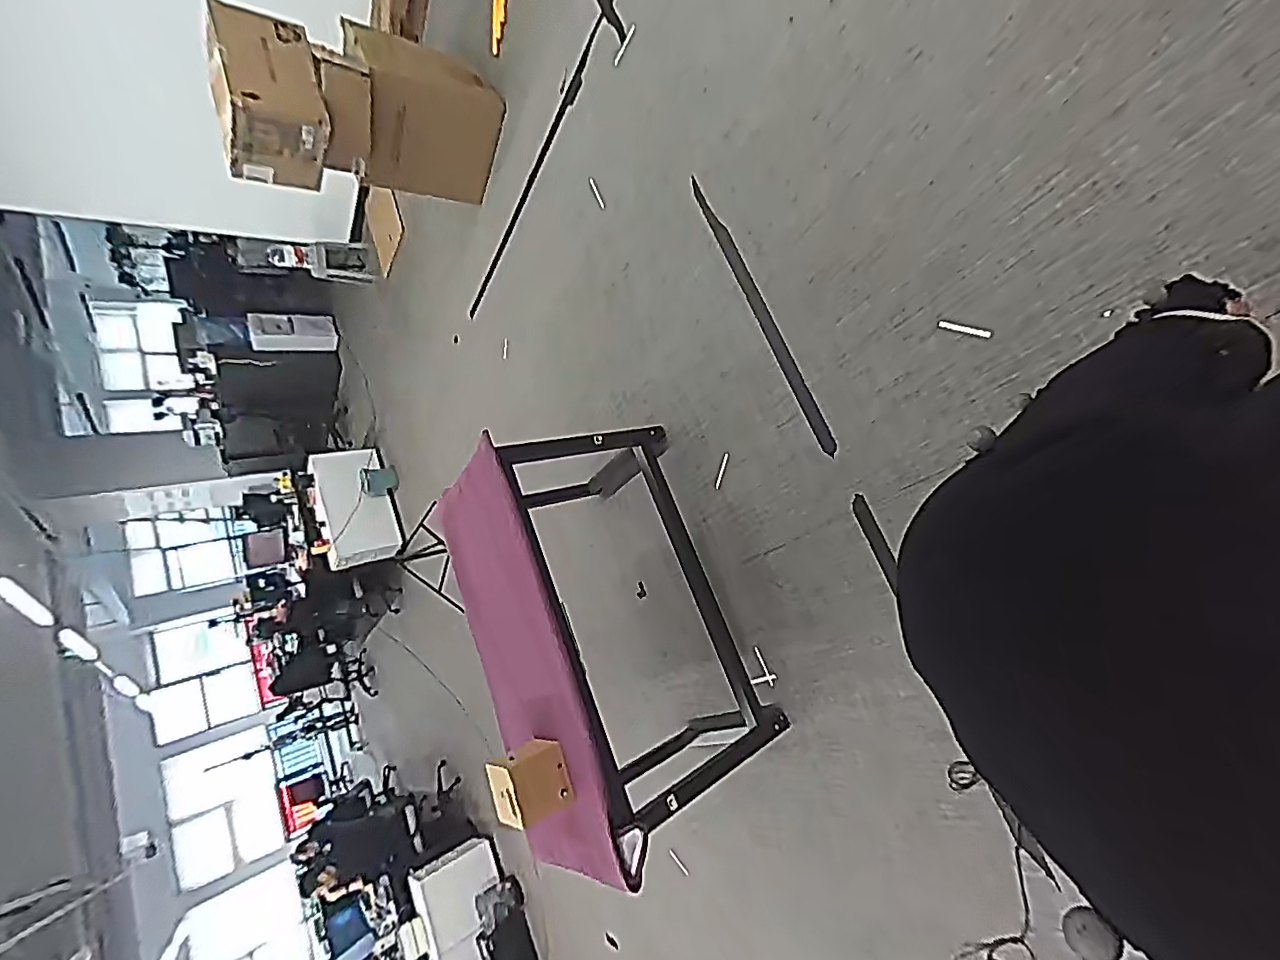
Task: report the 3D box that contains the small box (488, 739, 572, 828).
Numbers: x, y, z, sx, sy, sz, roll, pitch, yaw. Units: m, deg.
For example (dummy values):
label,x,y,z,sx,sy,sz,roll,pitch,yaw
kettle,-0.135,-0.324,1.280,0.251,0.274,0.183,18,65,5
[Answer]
label,x,y,z,sx,sy,sz,roll,pitch,yaw
small box,-0.313,0.870,1.569,0.179,0.176,0.168,-29,75,50
